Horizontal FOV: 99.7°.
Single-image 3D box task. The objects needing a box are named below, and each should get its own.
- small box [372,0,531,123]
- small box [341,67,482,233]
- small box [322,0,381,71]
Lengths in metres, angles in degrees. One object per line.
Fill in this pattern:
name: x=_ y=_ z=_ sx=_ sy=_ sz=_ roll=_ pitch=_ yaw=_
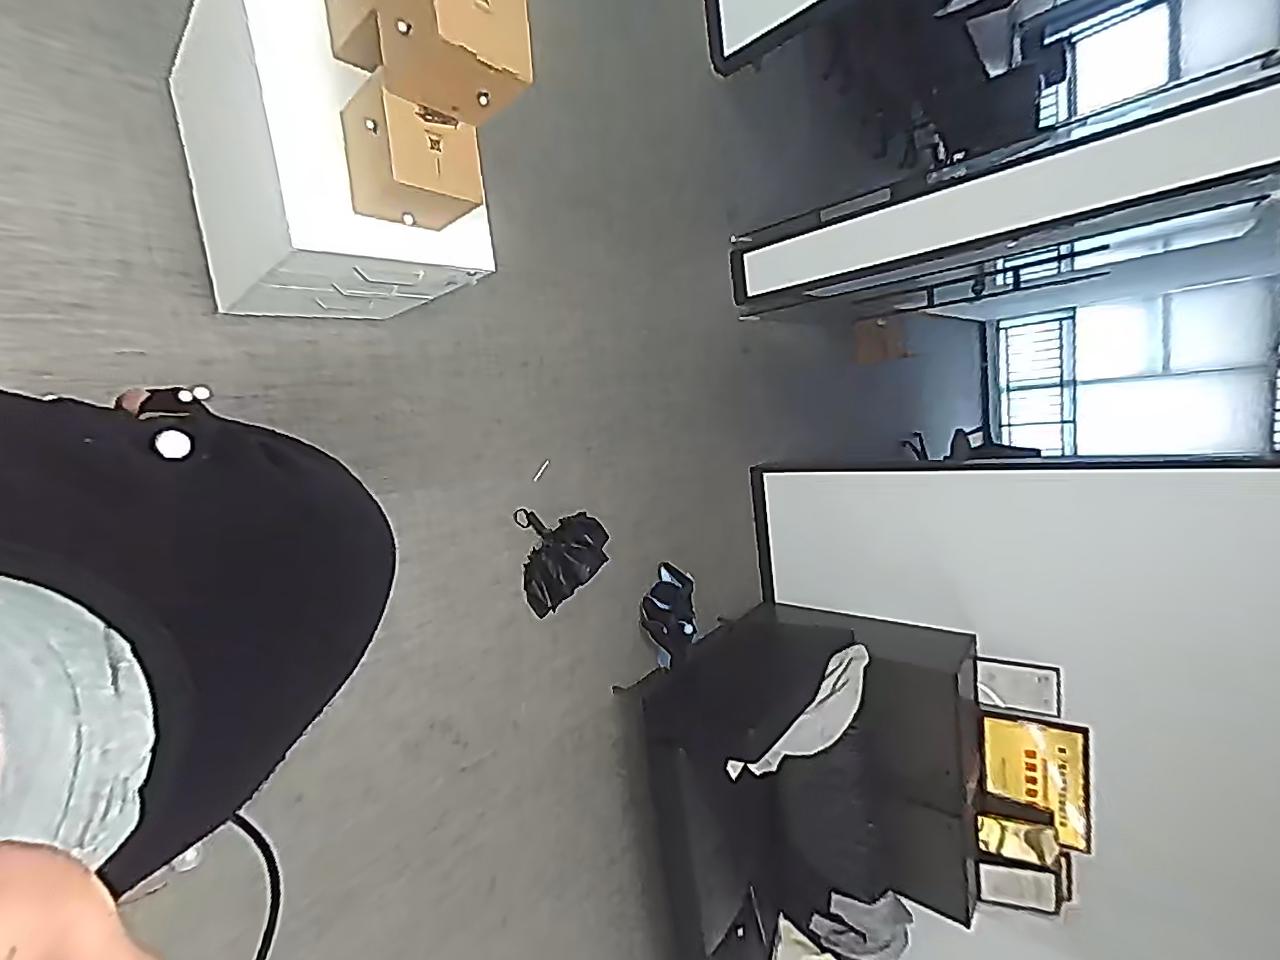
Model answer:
small box: x=-0.292 y=-0.694 z=0.833 sx=0.168 sy=0.176 sz=0.179 roll=-13 pitch=99 yaw=-48
small box: x=-0.404 y=-0.563 z=0.952 sx=0.168 sy=0.176 sz=0.179 roll=-12 pitch=100 yaw=-47
small box: x=-0.427 y=-0.820 z=0.923 sx=0.168 sy=0.176 sz=0.179 roll=-15 pitch=104 yaw=-47
